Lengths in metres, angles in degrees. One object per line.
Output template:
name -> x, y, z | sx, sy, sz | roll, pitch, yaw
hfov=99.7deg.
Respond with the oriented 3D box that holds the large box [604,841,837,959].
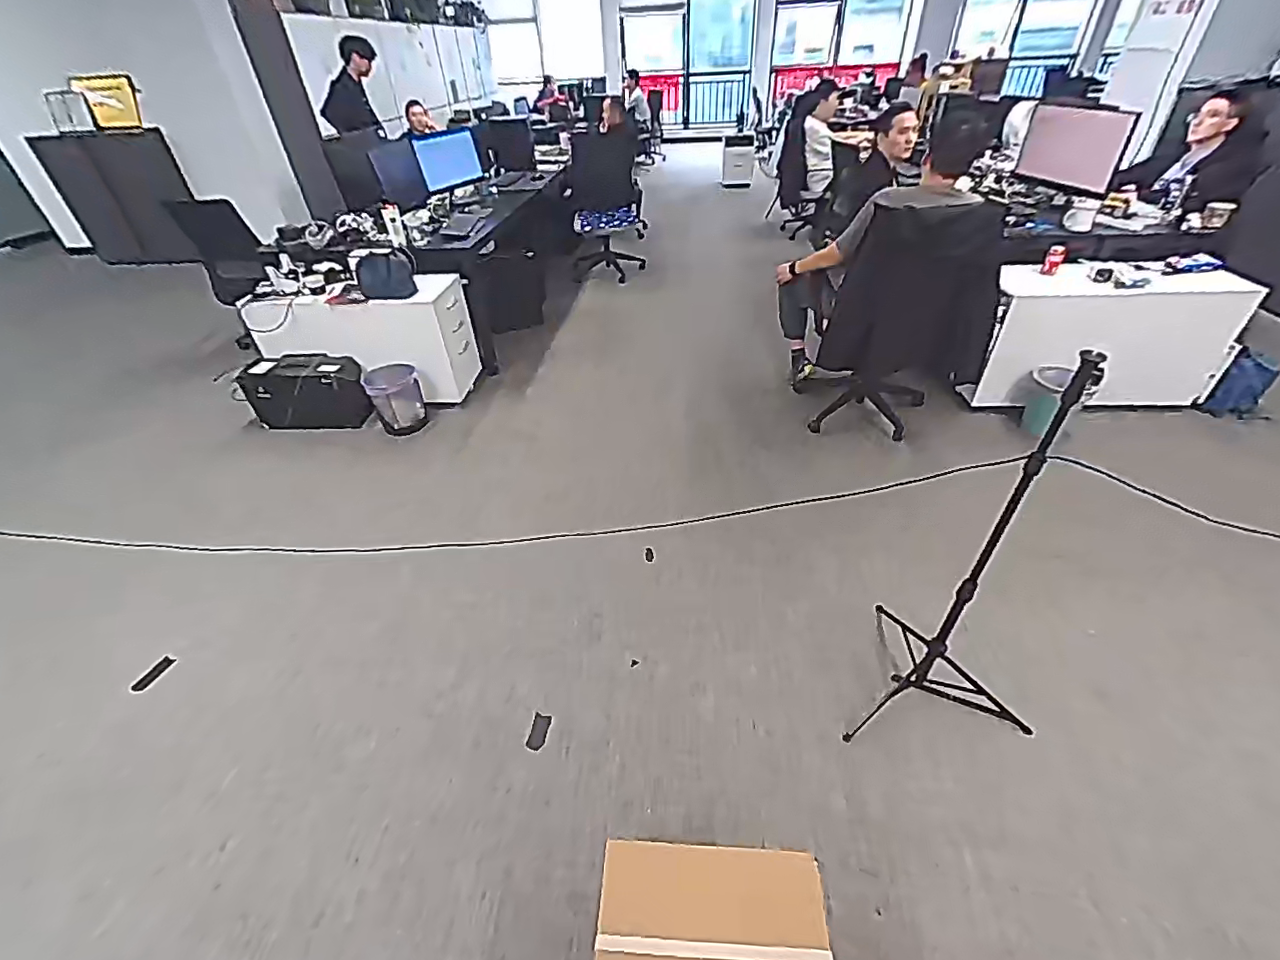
large box -> 0.140, 0.925, 1.020 | 0.408, 0.320, 0.320 | 1, 39, 4
